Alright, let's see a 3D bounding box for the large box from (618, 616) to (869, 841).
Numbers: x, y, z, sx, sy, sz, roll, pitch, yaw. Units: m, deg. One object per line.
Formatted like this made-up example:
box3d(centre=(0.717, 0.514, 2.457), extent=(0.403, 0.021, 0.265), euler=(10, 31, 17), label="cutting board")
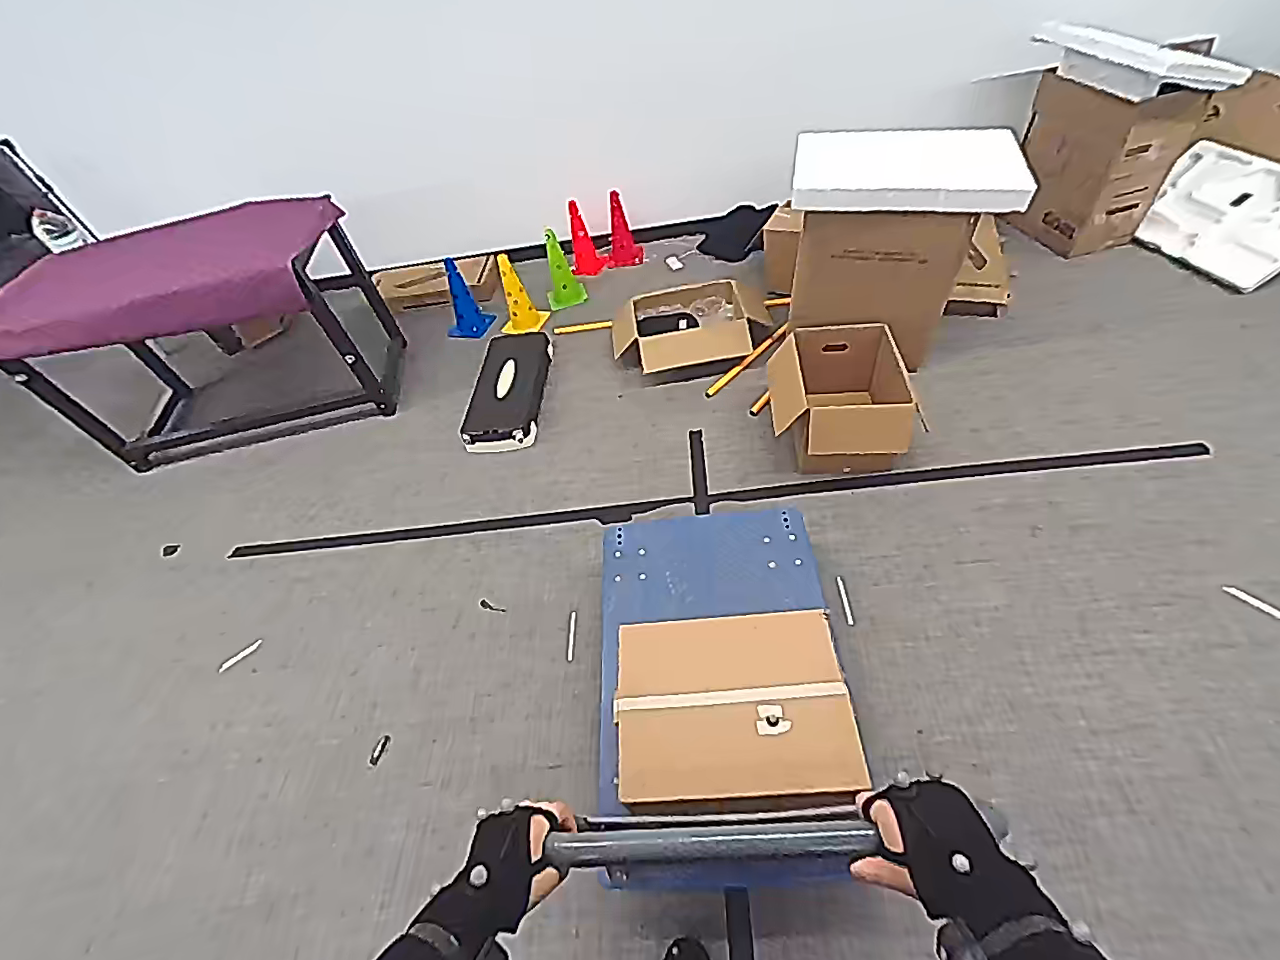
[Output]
box3d(centre=(0.175, 0.496, 1.065), extent=(0.408, 0.320, 0.320), euler=(-6, 49, 4), label="large box")
